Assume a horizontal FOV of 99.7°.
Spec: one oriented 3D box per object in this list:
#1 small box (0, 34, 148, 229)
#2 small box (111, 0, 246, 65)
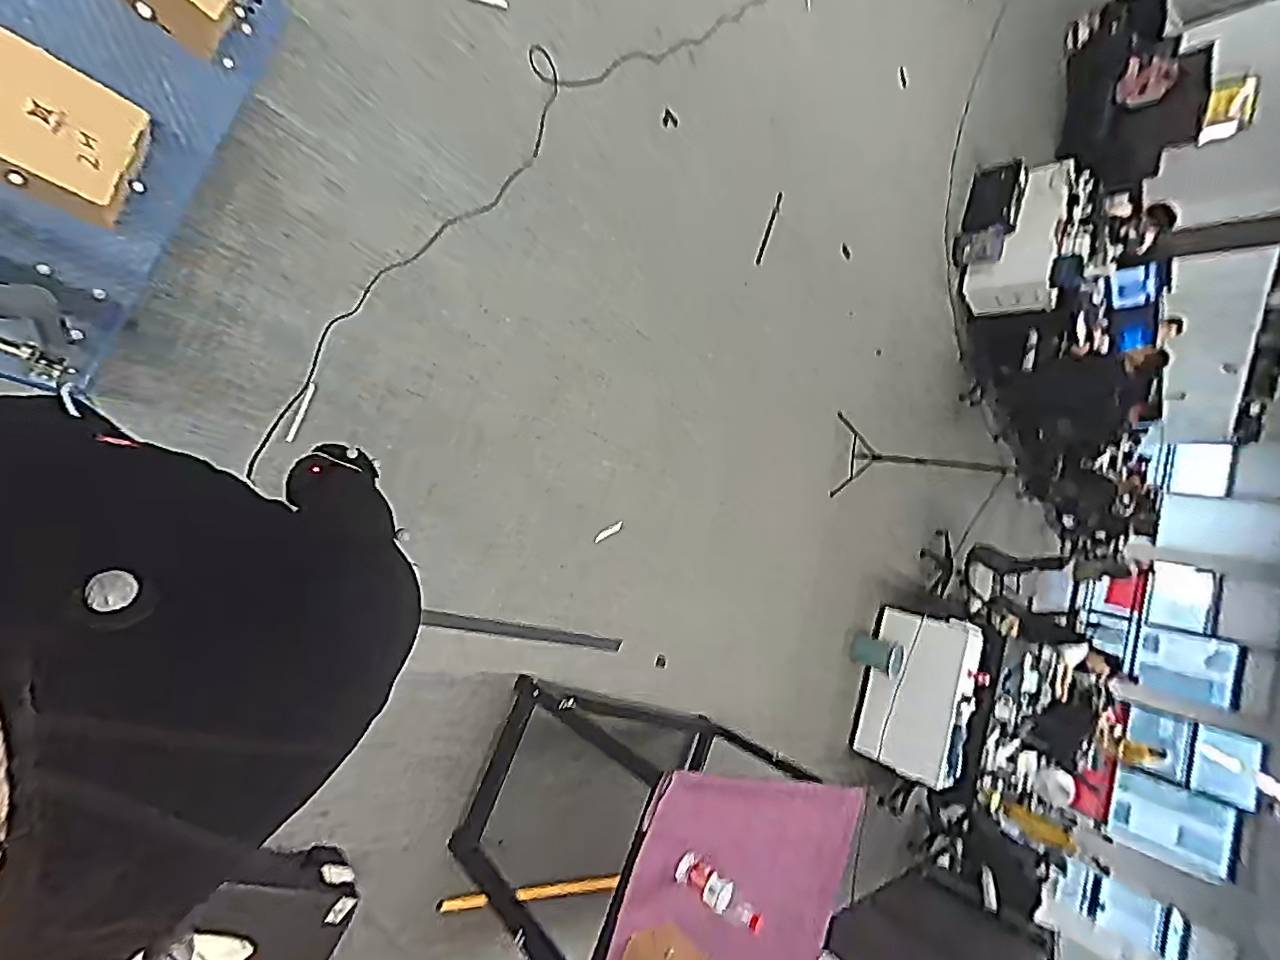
[{"bbox_3d":[-0.895,-0.514,0.824,0.179,0.176,0.168,24,80,-42],"label":"small box"},{"bbox_3d":[-0.768,-0.853,0.895,0.168,0.176,0.179,30,77,-42],"label":"small box"}]
